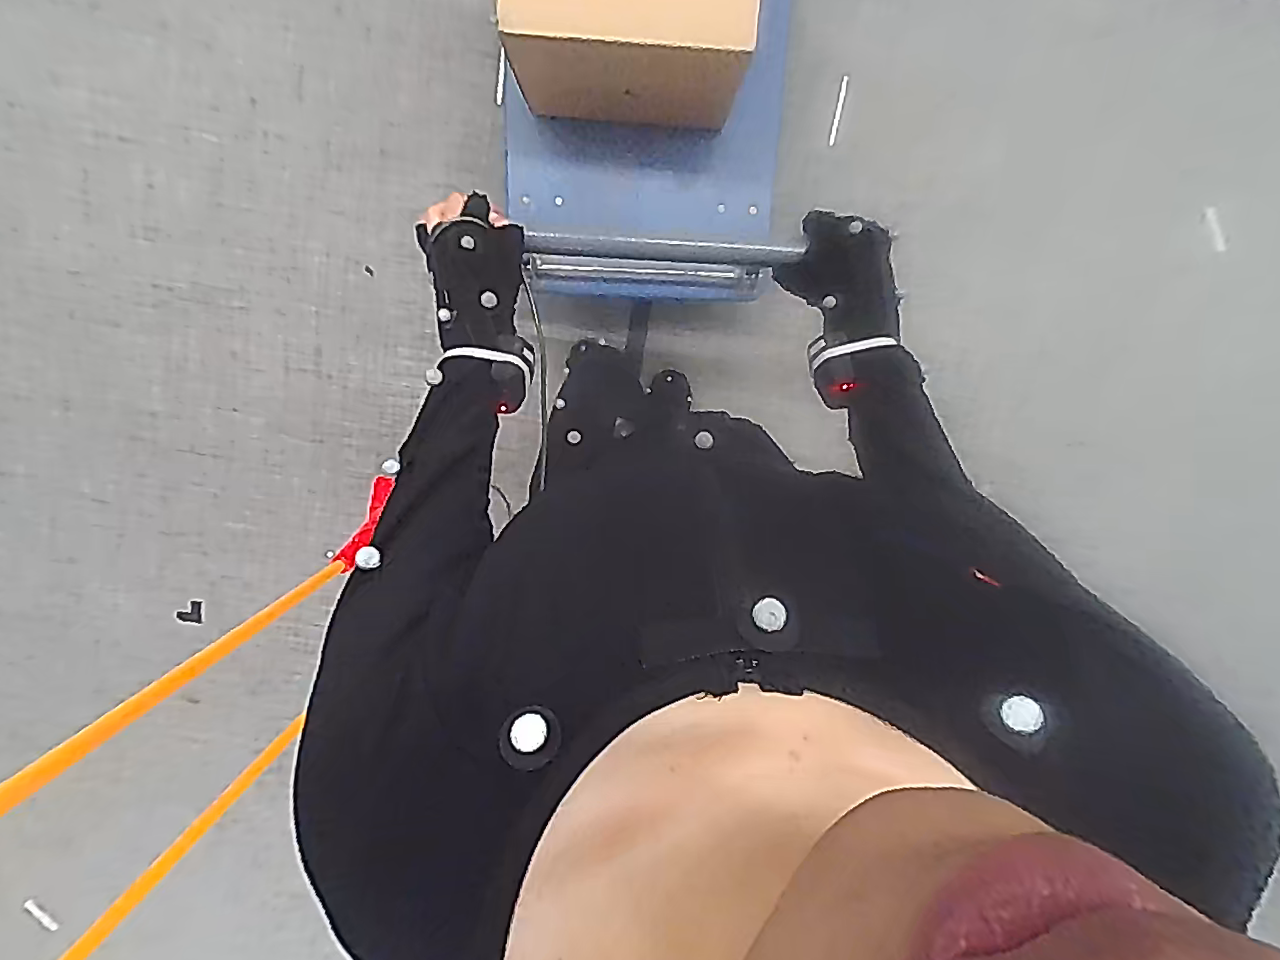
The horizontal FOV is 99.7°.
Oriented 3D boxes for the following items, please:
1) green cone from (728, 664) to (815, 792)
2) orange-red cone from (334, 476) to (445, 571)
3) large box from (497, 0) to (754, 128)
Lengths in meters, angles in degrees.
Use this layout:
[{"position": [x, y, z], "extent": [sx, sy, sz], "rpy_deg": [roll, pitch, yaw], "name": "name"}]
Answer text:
[{"position": [0.387, 0.694, 1.466], "extent": [0.202, 0.368, 0.200], "rpy_deg": [13, 102, -5], "name": "green cone"}, {"position": [-0.642, 0.137, 1.319], "extent": [0.198, 0.360, 0.199], "rpy_deg": [16, 100, -6], "name": "orange-red cone"}, {"position": [-0.018, -0.858, 0.957], "extent": [0.408, 0.320, 0.320], "rpy_deg": [3, 103, -1], "name": "large box"}]
